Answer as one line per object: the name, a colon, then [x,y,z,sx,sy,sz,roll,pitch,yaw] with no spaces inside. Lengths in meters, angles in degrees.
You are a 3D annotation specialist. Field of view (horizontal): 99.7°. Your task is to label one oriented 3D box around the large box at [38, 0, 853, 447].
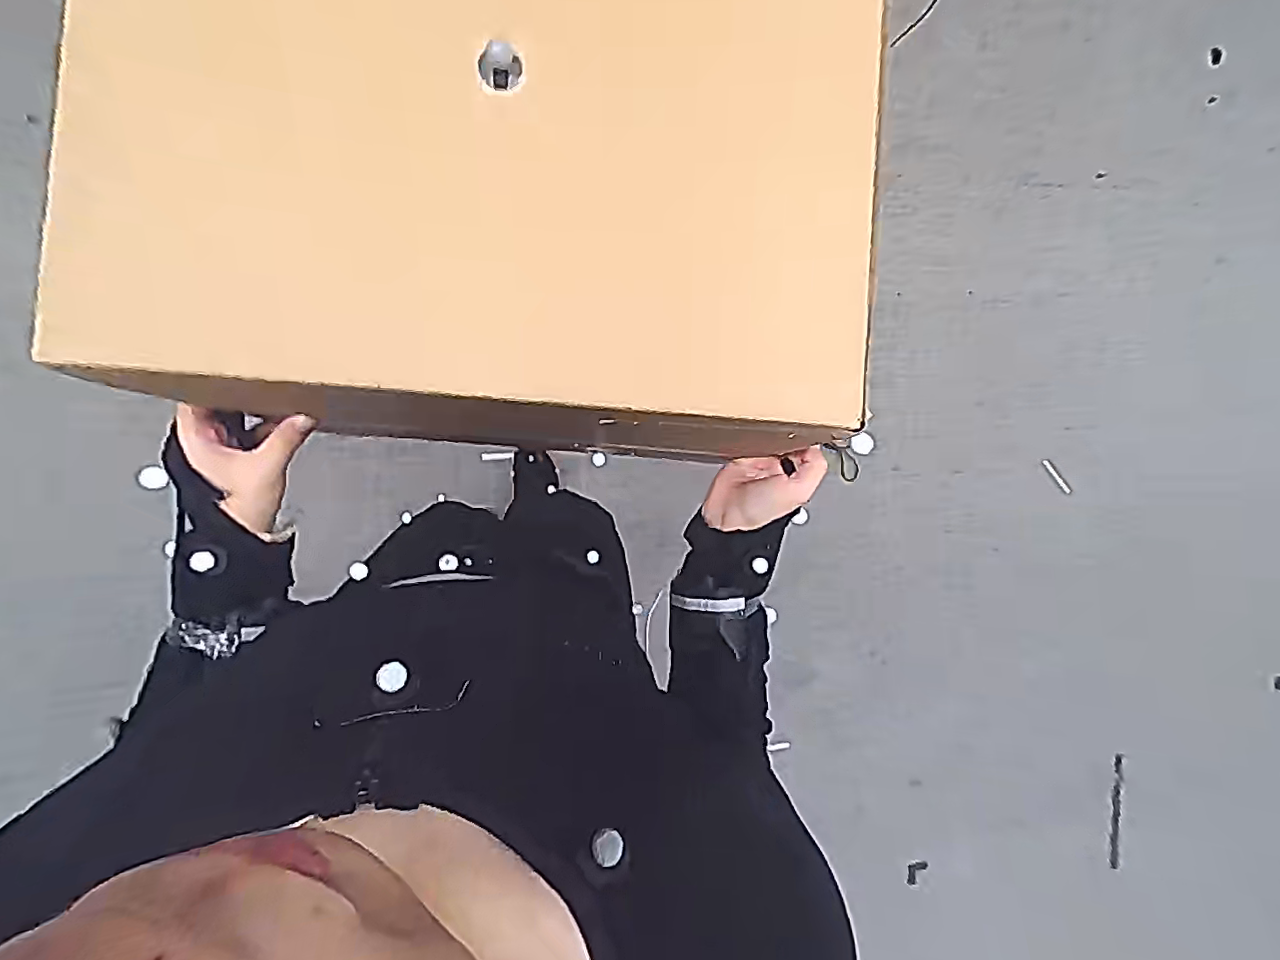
large box: [-0.097,-0.199,0.419,0.408,0.320,0.320,2,90,-5]
